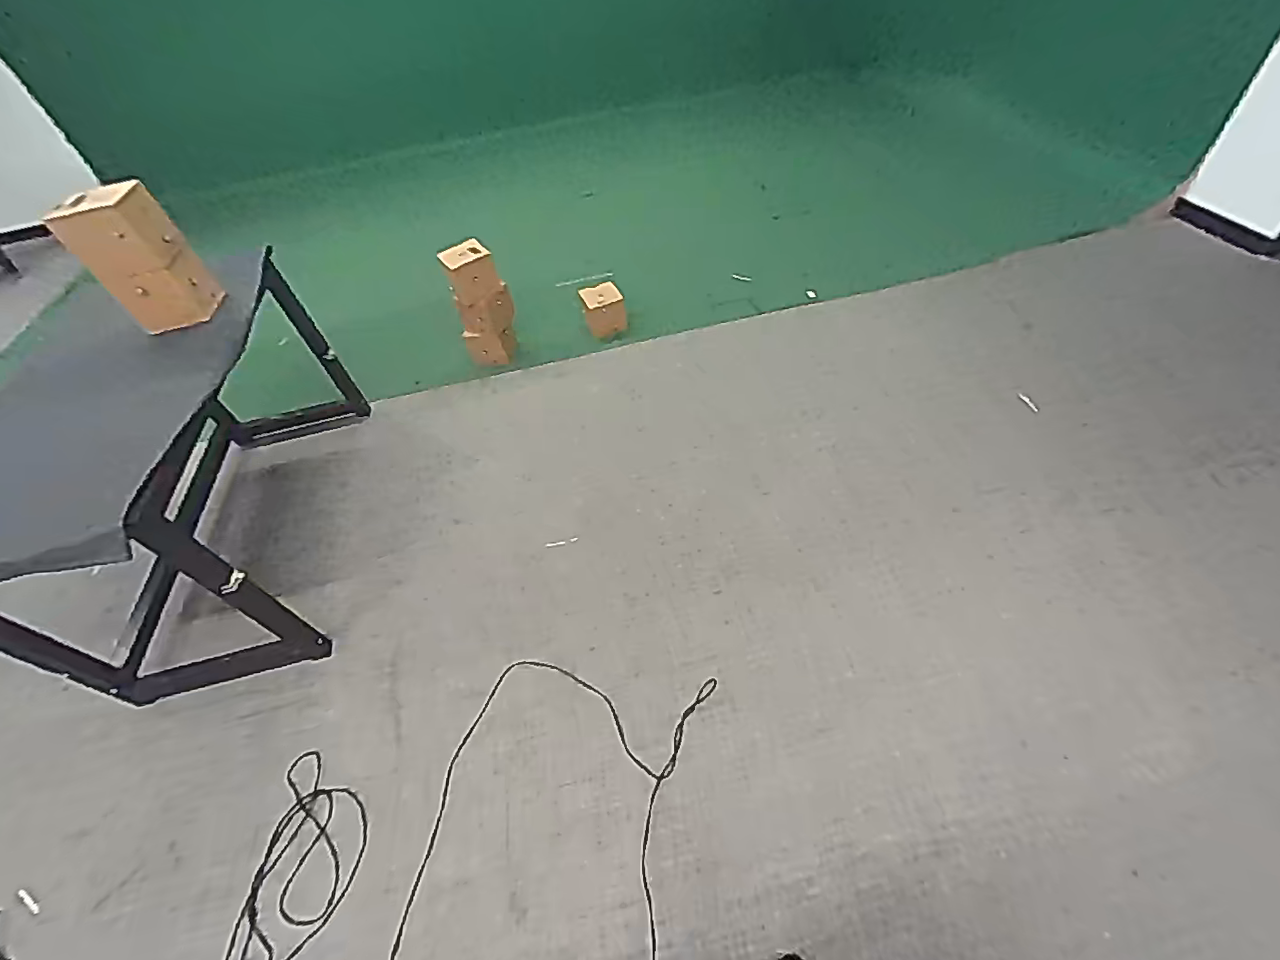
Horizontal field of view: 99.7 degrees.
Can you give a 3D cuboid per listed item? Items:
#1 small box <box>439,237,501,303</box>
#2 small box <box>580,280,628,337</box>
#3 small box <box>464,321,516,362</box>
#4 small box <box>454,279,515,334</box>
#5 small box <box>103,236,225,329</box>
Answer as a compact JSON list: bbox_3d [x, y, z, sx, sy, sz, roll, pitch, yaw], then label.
[{"bbox_3d":[-0.694,-0.865,2.228,0.179,0.176,0.168,-32,55,-17],"label":"small box"},{"bbox_3d":[-0.167,-0.799,2.524,0.168,0.176,0.179,-20,50,-9],"label":"small box"},{"bbox_3d":[-0.681,-0.657,2.481,0.168,0.176,0.179,0,50,7],"label":"small box"},{"bbox_3d":[-0.667,-0.763,2.354,0.168,0.176,0.179,17,54,19],"label":"small box"},{"bbox_3d":[-1.342,-0.561,1.542,0.179,0.176,0.168,-14,50,-2],"label":"small box"}]
